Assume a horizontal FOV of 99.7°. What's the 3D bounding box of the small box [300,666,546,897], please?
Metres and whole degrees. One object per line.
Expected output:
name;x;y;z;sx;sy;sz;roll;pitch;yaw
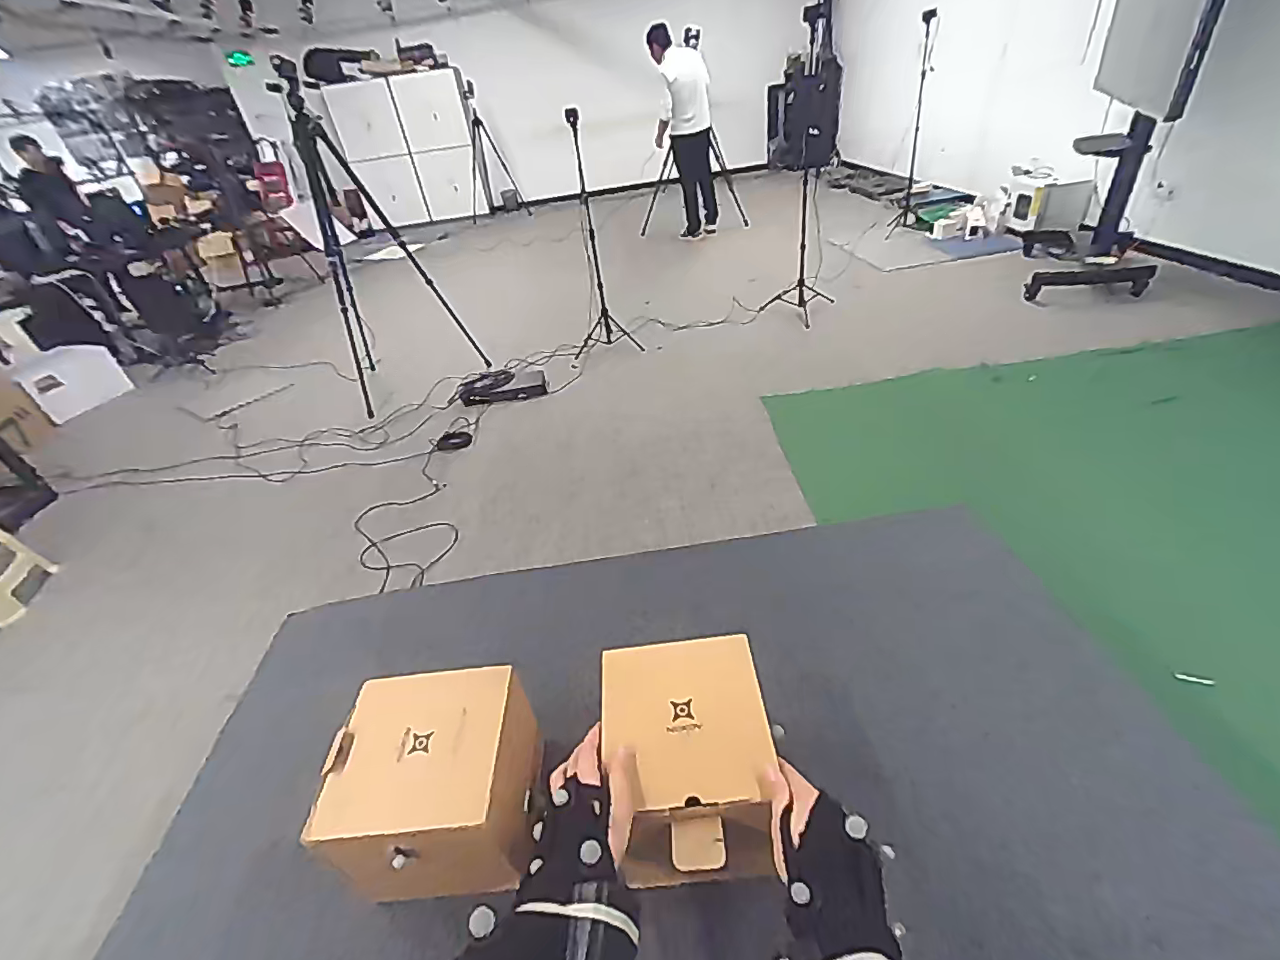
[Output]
small box;-0.215;0.331;0.594;0.179;0.176;0.168;-6;37;2
